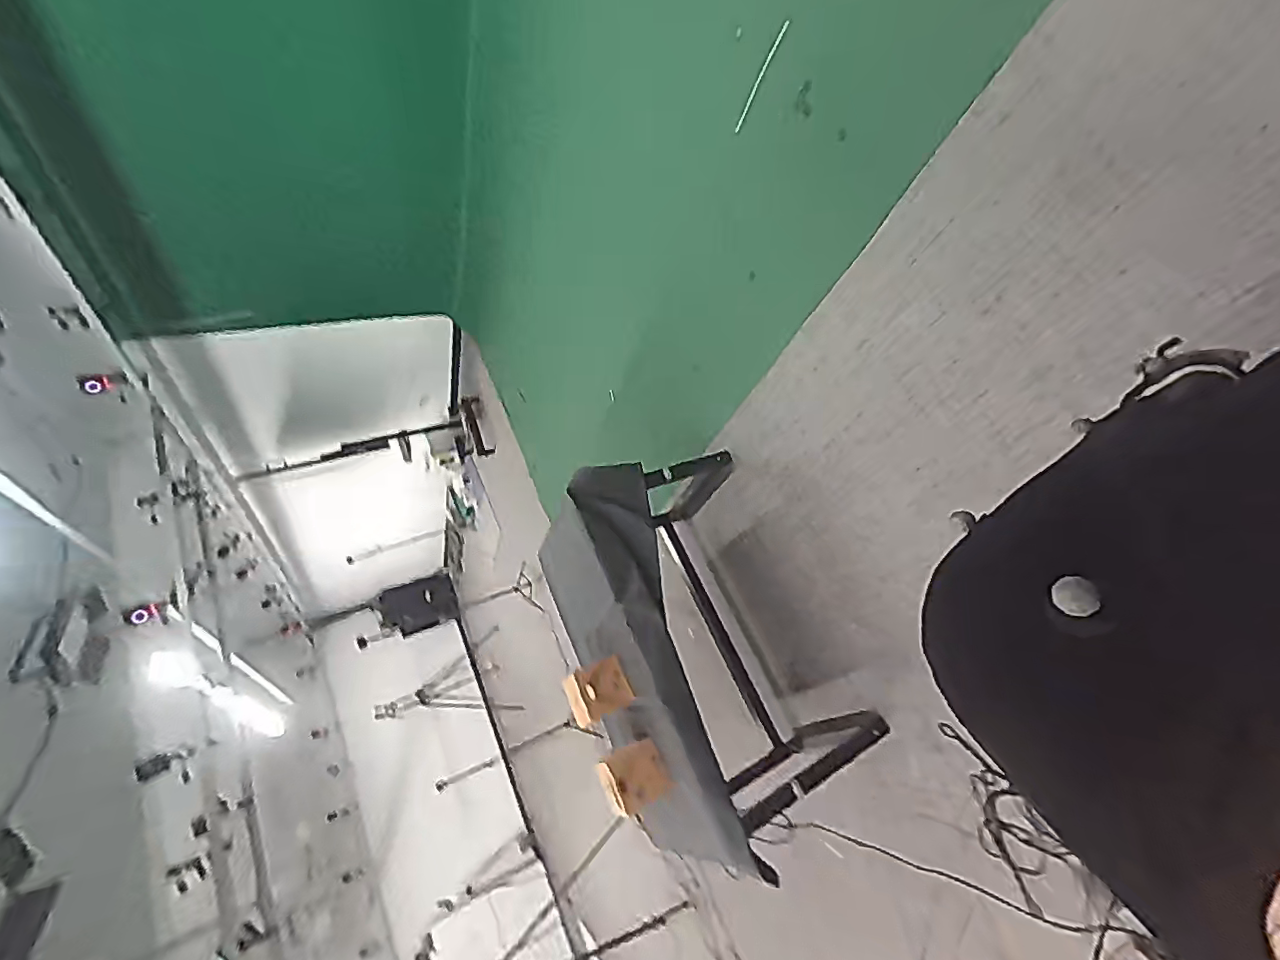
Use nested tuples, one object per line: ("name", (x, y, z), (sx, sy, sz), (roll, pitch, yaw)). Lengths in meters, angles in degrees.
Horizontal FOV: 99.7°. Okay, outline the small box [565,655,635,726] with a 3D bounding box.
("small box", (-0.138, 0.725, 1.866), (0.168, 0.176, 0.179), (64, 150, 20))
